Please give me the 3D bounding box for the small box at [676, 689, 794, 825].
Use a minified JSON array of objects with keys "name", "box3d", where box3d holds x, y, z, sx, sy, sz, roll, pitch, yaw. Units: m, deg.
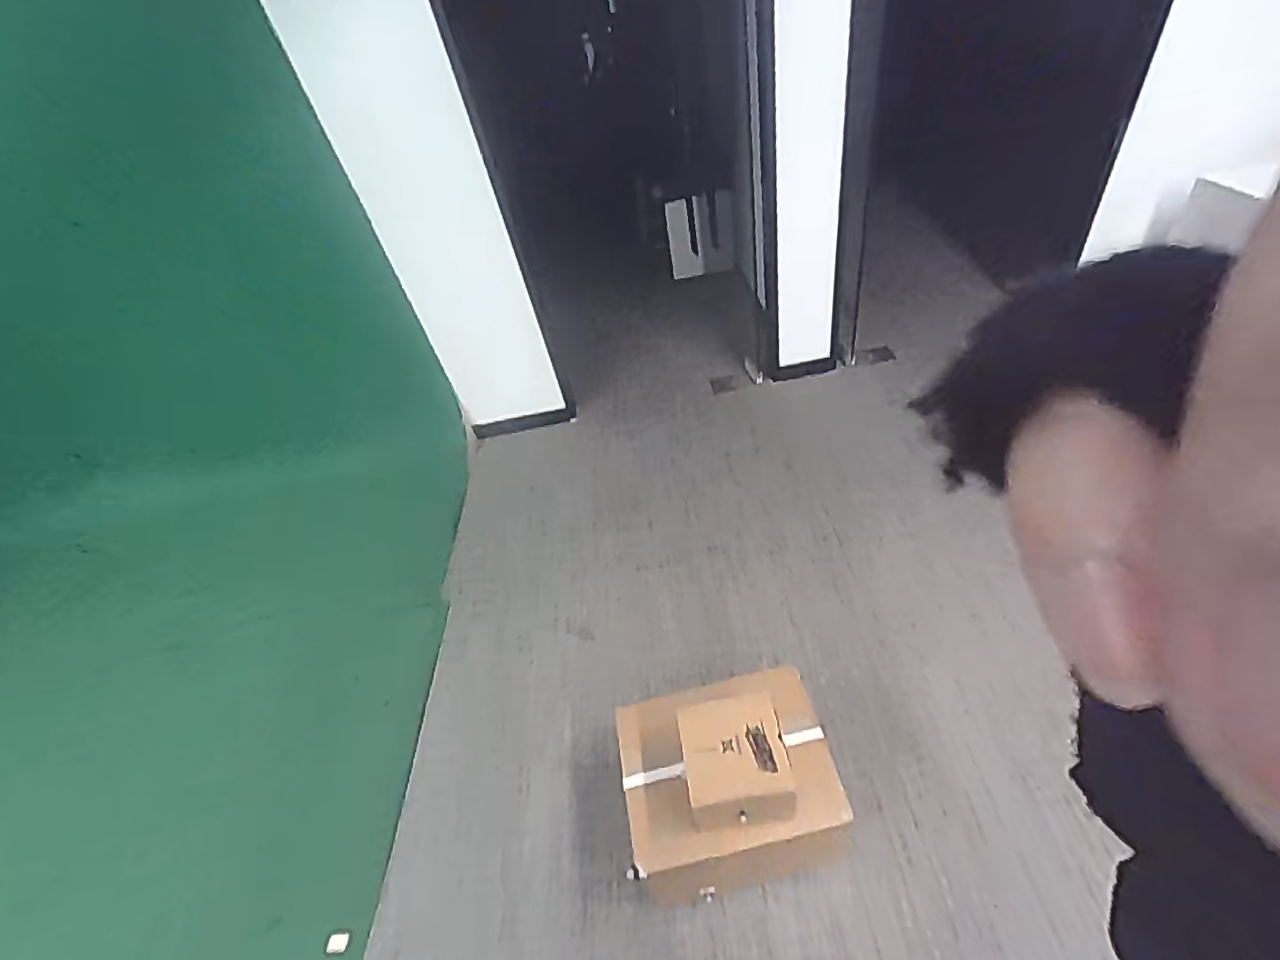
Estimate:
[{"name":"small box","box3d":[0.172,0.509,0.991,0.179,0.176,0.168,-12,43,4]}]
